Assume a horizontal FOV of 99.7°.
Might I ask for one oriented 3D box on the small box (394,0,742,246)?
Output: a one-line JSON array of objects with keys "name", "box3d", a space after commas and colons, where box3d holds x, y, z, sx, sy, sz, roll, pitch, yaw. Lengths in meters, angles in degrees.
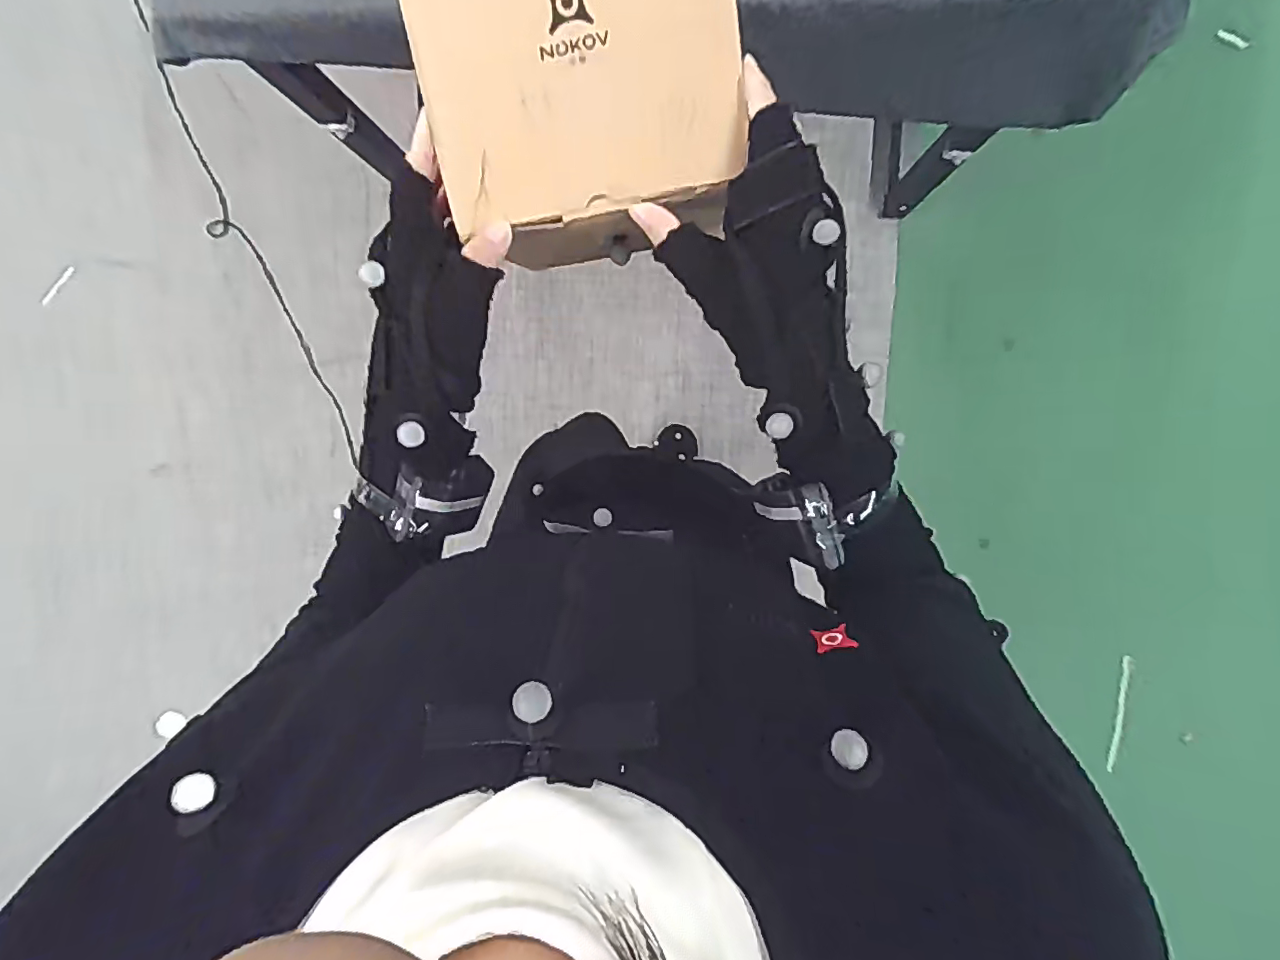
[{"name": "small box", "box3d": [-0.032, -0.257, 0.343, 0.168, 0.176, 0.179, -9, 106, 8]}]
